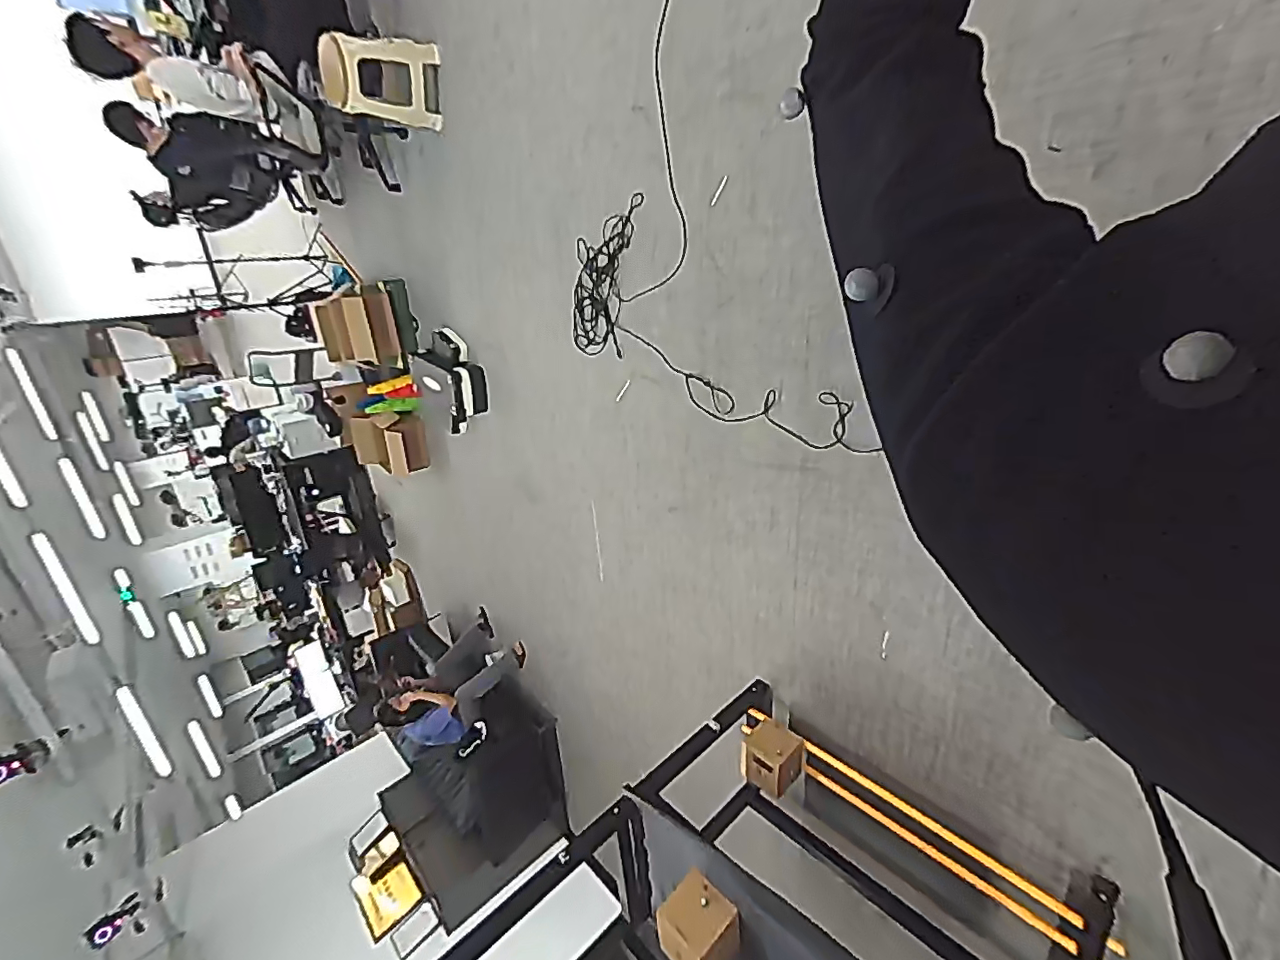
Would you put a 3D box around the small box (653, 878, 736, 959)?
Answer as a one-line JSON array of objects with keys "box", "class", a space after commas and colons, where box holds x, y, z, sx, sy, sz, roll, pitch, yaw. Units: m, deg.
[{"box": [0.157, 1.288, 1.518, 0.168, 0.176, 0.179, 16, 120, 44], "class": "small box"}]
